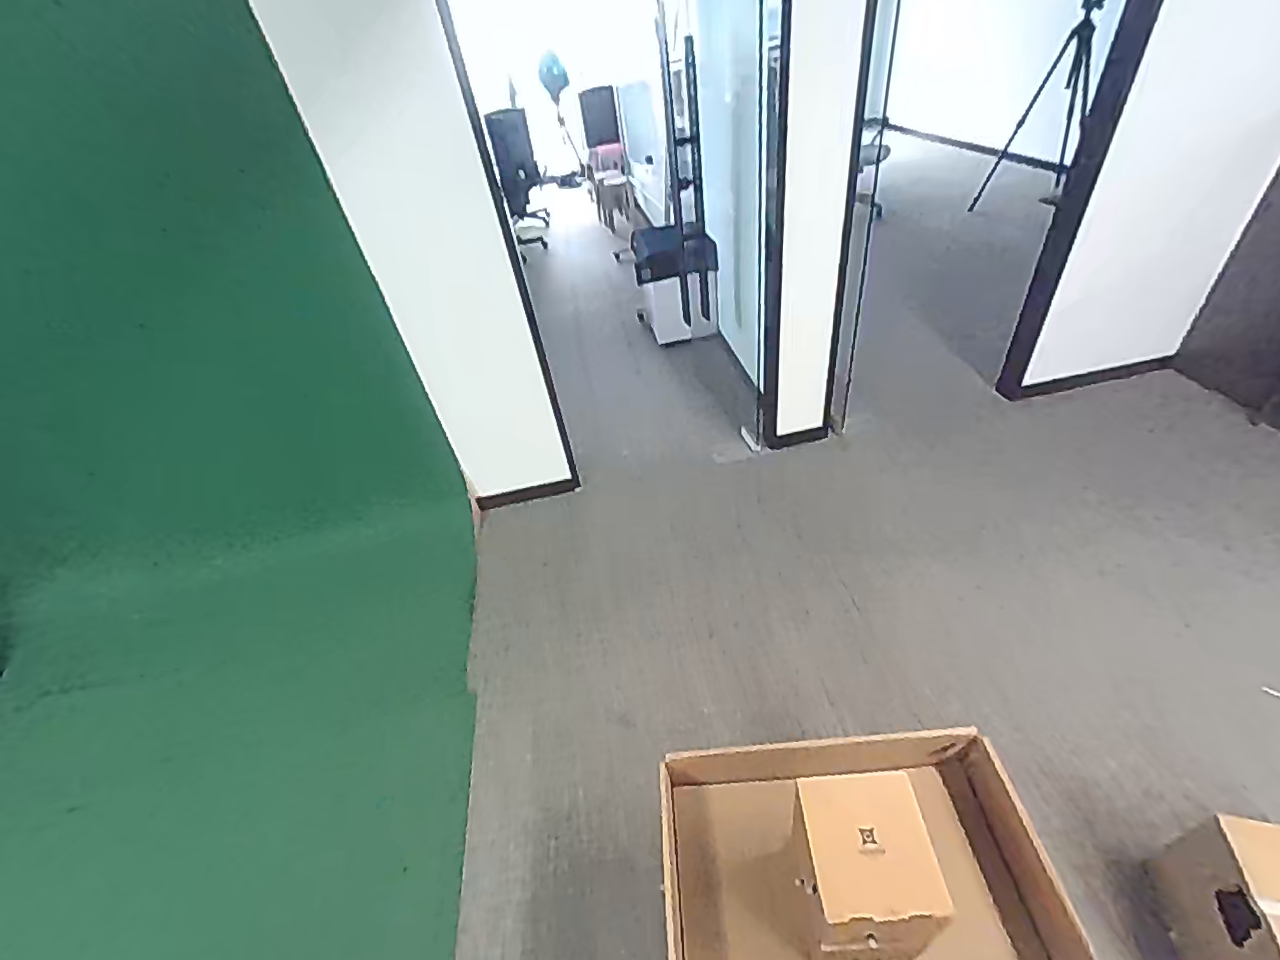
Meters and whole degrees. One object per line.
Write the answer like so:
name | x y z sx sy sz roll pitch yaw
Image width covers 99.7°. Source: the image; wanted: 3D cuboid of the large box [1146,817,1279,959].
large box | 1.311 0.890 1.008 0.408 0.320 0.320 4 42 17

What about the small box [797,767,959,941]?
small box | 0.335 0.556 0.805 0.168 0.176 0.179 -7 41 5
